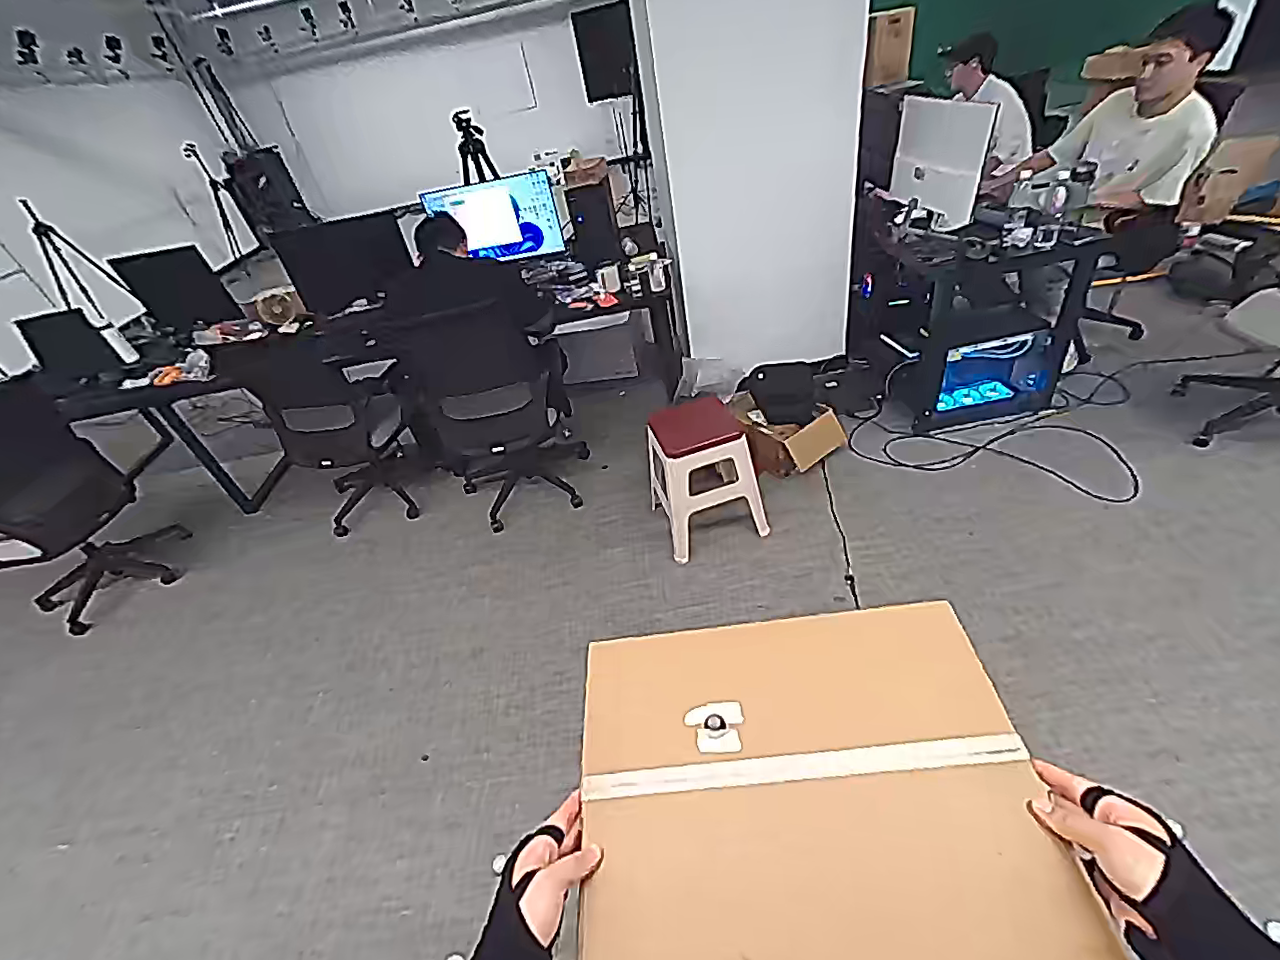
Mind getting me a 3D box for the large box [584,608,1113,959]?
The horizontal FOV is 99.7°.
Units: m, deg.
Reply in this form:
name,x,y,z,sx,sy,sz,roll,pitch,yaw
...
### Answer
name,x,y,z,sx,sy,sz,roll,pitch,yaw
large box,0.174,0.385,0.616,0.408,0.320,0.320,-10,43,7
